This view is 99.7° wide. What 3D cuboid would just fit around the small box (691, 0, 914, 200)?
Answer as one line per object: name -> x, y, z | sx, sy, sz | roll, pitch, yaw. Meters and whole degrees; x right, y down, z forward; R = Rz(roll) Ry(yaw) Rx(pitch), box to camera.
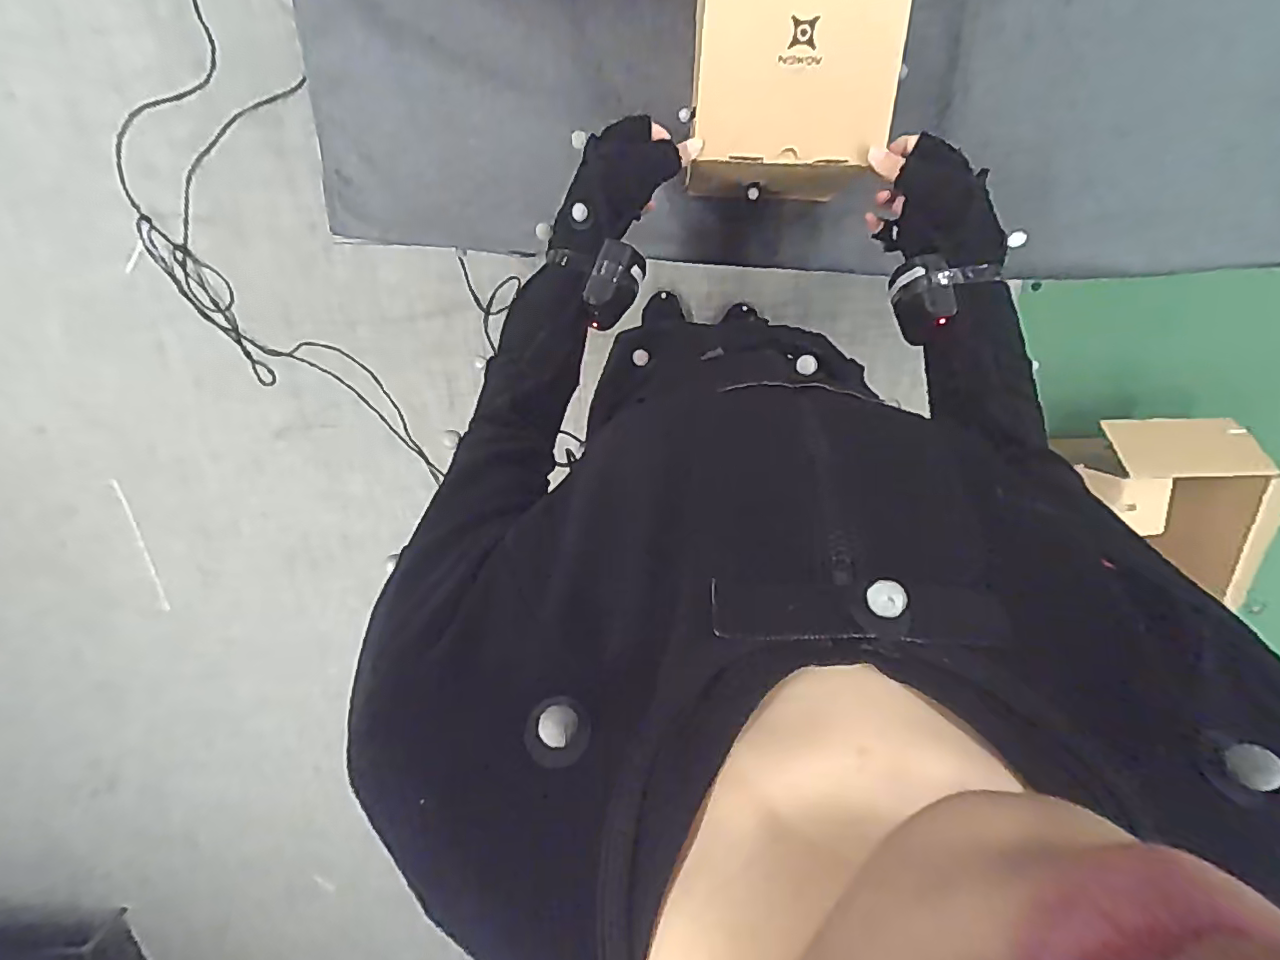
small box -> 0.139, -0.383, 0.519 | 0.168, 0.176, 0.179 | 3, 109, 2
